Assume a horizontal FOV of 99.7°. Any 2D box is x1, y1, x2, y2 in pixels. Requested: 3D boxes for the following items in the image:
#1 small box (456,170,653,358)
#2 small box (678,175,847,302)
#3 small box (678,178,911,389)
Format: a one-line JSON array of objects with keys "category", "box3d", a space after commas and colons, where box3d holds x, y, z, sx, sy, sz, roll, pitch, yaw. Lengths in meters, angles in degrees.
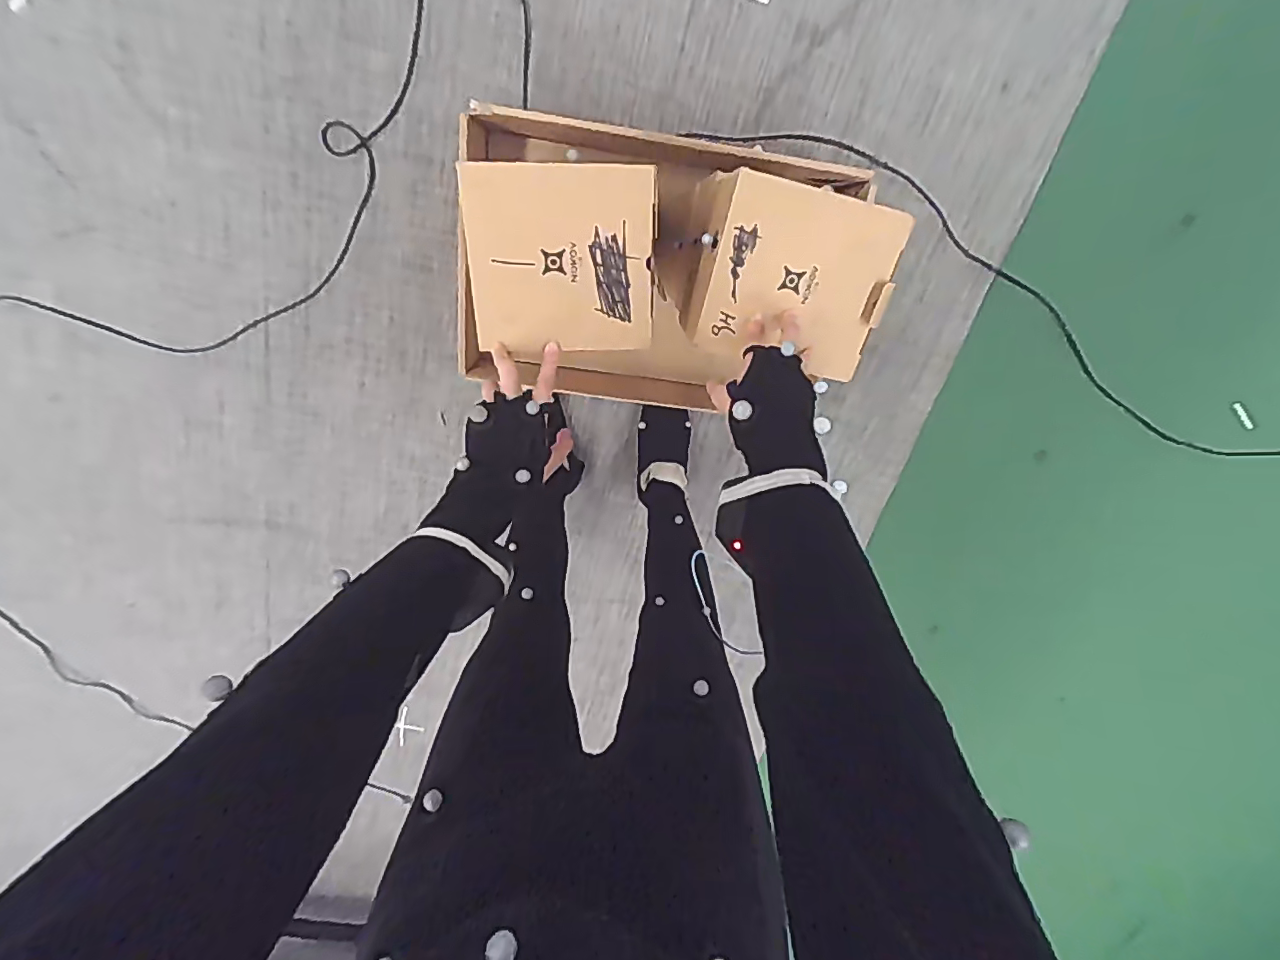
[{"category": "small box", "box3d": [-0.083, -0.233, 0.580, 0.179, 0.176, 0.168, -1, 116, -4]}, {"category": "small box", "box3d": [0.150, -0.297, 0.741, 0.168, 0.176, 0.179, 9, 114, -5]}, {"category": "small box", "box3d": [0.150, -0.217, 0.598, 0.179, 0.176, 0.168, 12, 113, -7]}]
